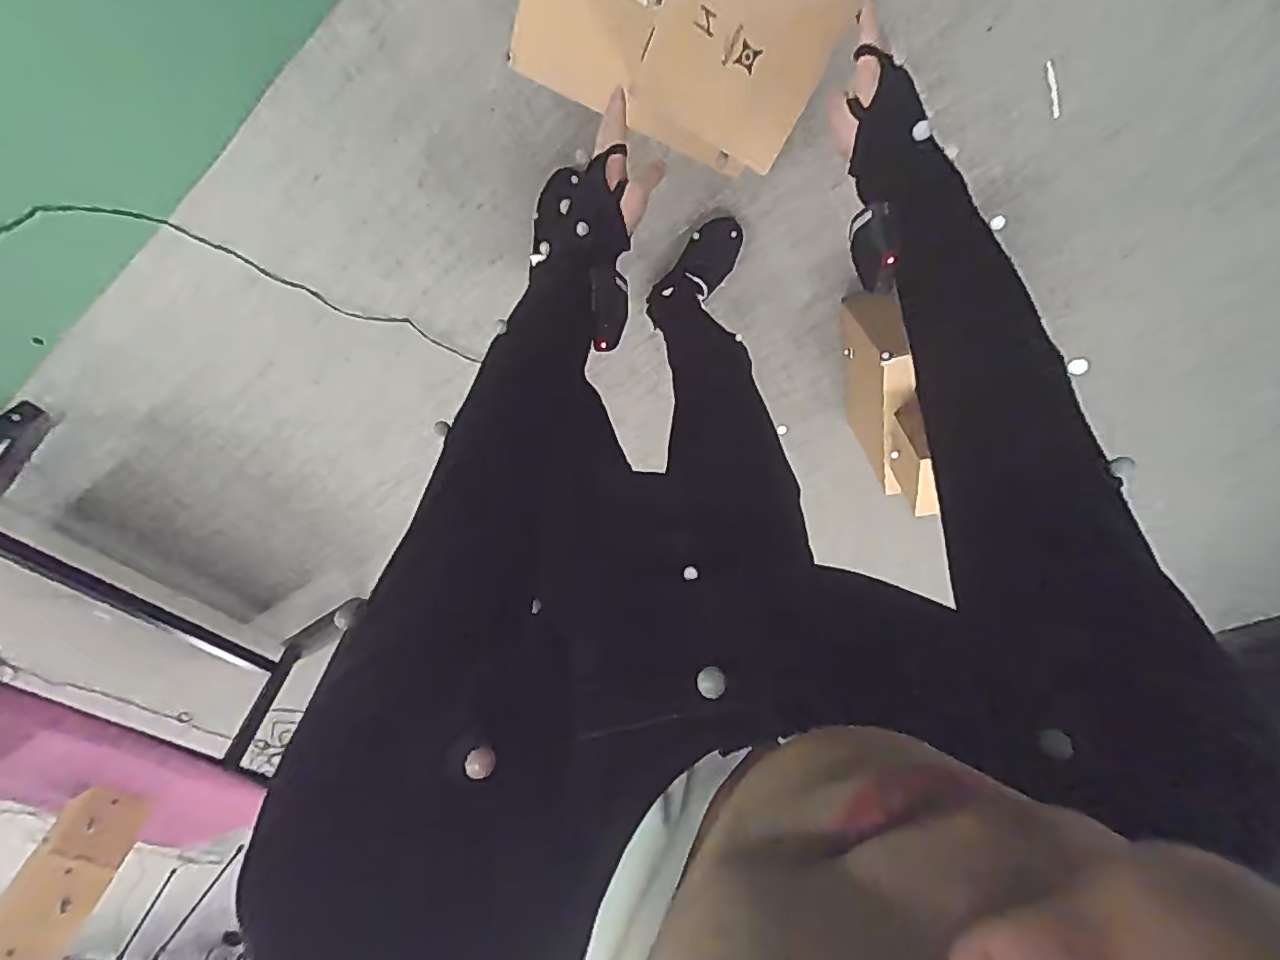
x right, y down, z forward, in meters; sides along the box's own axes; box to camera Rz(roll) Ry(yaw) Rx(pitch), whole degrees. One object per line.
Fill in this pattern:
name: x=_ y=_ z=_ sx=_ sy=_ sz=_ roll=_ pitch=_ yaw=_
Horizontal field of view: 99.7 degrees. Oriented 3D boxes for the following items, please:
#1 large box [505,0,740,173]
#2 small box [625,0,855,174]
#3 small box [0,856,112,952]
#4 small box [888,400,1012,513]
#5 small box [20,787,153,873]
large box: x=0.035 y=-0.773 z=0.892 sx=0.408 sy=0.320 sz=0.320 roll=18 pitch=126 yaw=-13
small box: x=0.096 y=-0.481 z=0.601 sx=0.179 sy=0.176 sz=0.168 roll=21 pitch=126 yaw=-17
small box: x=-1.496 y=1.068 z=1.355 sx=0.179 sy=0.176 sz=0.168 roll=-29 pitch=124 yaw=22
small box: x=0.662 y=-0.055 z=1.177 sx=0.179 sy=0.176 sz=0.168 roll=-10 pitch=129 yaw=10
small box: x=-1.501 y=0.965 z=1.480 sx=0.179 sy=0.176 sz=0.168 roll=-28 pitch=124 yaw=22
